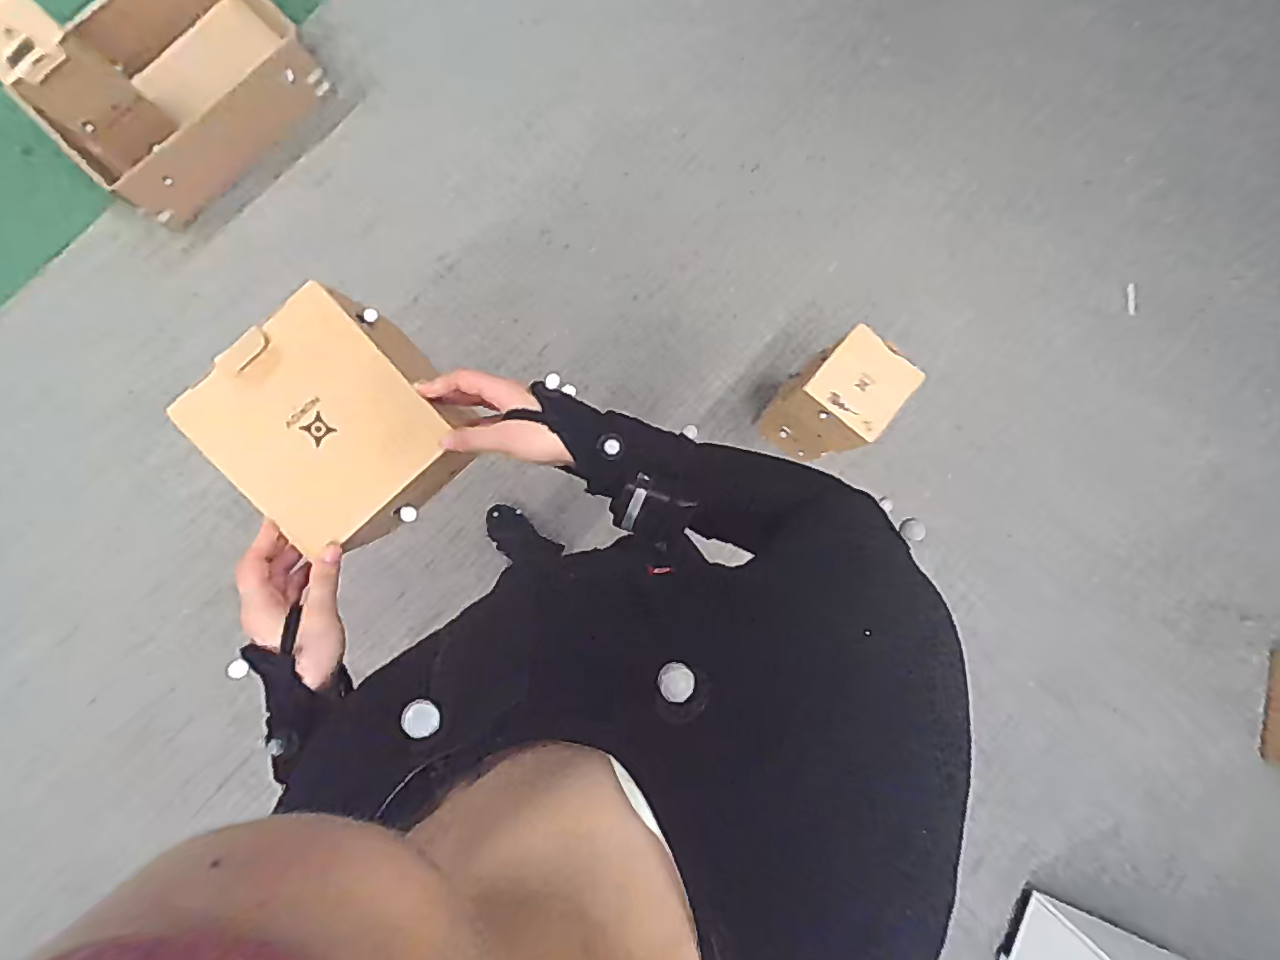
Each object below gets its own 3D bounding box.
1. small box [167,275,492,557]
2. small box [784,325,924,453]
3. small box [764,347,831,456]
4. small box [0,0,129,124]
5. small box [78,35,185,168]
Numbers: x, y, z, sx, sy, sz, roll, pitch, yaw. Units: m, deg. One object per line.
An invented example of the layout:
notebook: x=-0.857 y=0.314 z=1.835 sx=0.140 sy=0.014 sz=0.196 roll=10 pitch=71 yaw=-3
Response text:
small box: x=-0.270 y=-0.057 z=0.522 sx=0.168 sy=0.176 sz=0.179 roll=-42 pitch=95 yaw=0
small box: x=0.425 y=-0.177 z=1.107 sx=0.168 sy=0.176 sz=0.179 roll=41 pitch=85 yaw=2
small box: x=0.418 y=-0.176 z=1.271 sx=0.168 sy=0.176 sz=0.179 roll=41 pitch=87 yaw=2
small box: x=-1.308 y=-0.936 z=1.192 sx=0.179 sy=0.176 sz=0.168 roll=43 pitch=85 yaw=1
small box: x=-1.320 y=-0.937 z=1.356 sx=0.179 sy=0.176 sz=0.168 roll=42 pitch=86 yaw=0
